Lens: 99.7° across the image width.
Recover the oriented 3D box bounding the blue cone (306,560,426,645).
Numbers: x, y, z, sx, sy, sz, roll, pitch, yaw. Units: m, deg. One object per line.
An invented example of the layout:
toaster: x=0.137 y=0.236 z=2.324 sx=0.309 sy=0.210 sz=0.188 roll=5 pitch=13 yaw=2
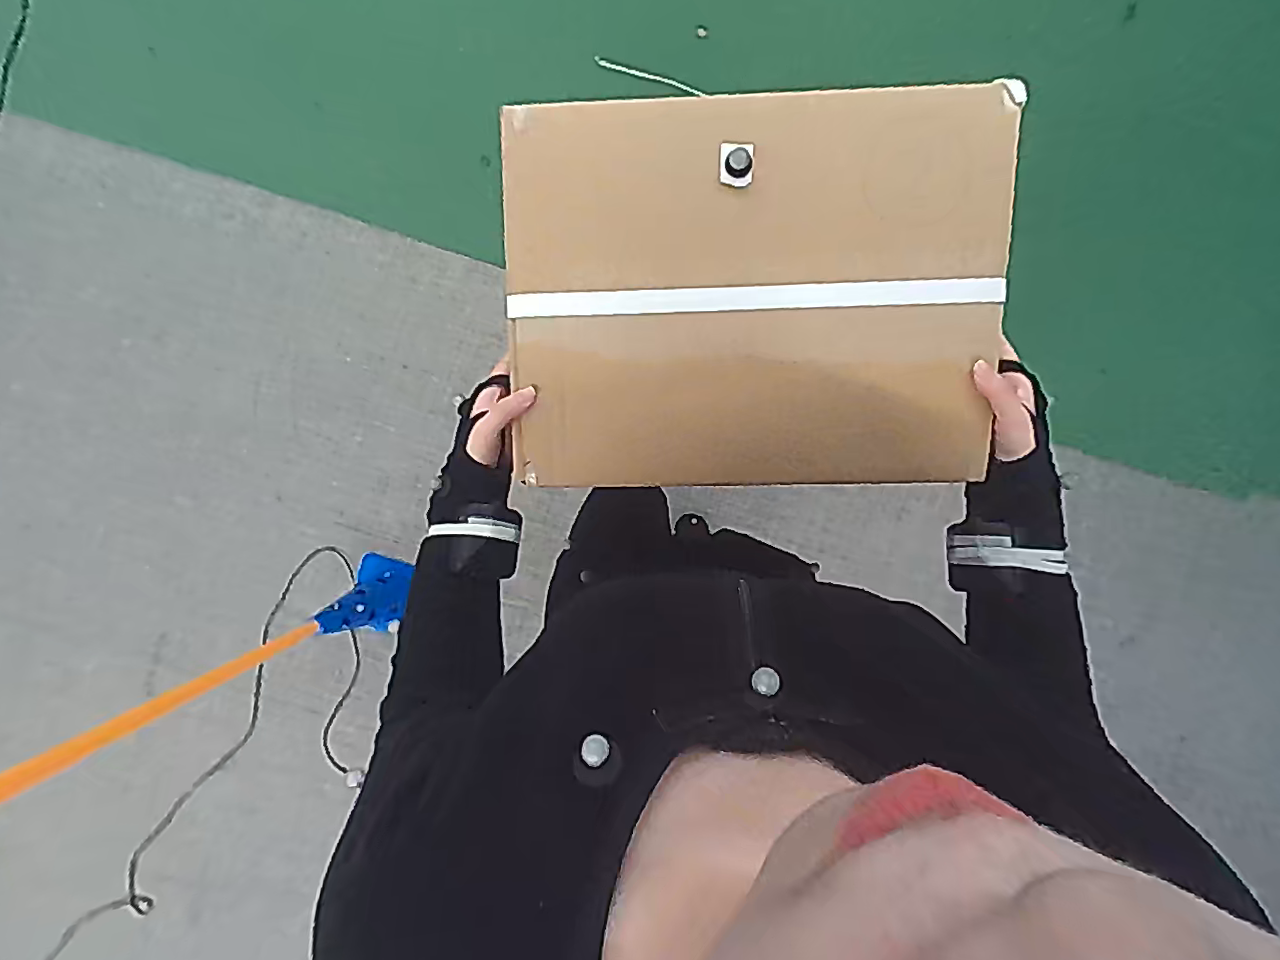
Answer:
blue cone: x=-0.674 y=0.315 z=1.293 sx=0.193 sy=0.380 sz=0.192 roll=15 pitch=88 yaw=-2
